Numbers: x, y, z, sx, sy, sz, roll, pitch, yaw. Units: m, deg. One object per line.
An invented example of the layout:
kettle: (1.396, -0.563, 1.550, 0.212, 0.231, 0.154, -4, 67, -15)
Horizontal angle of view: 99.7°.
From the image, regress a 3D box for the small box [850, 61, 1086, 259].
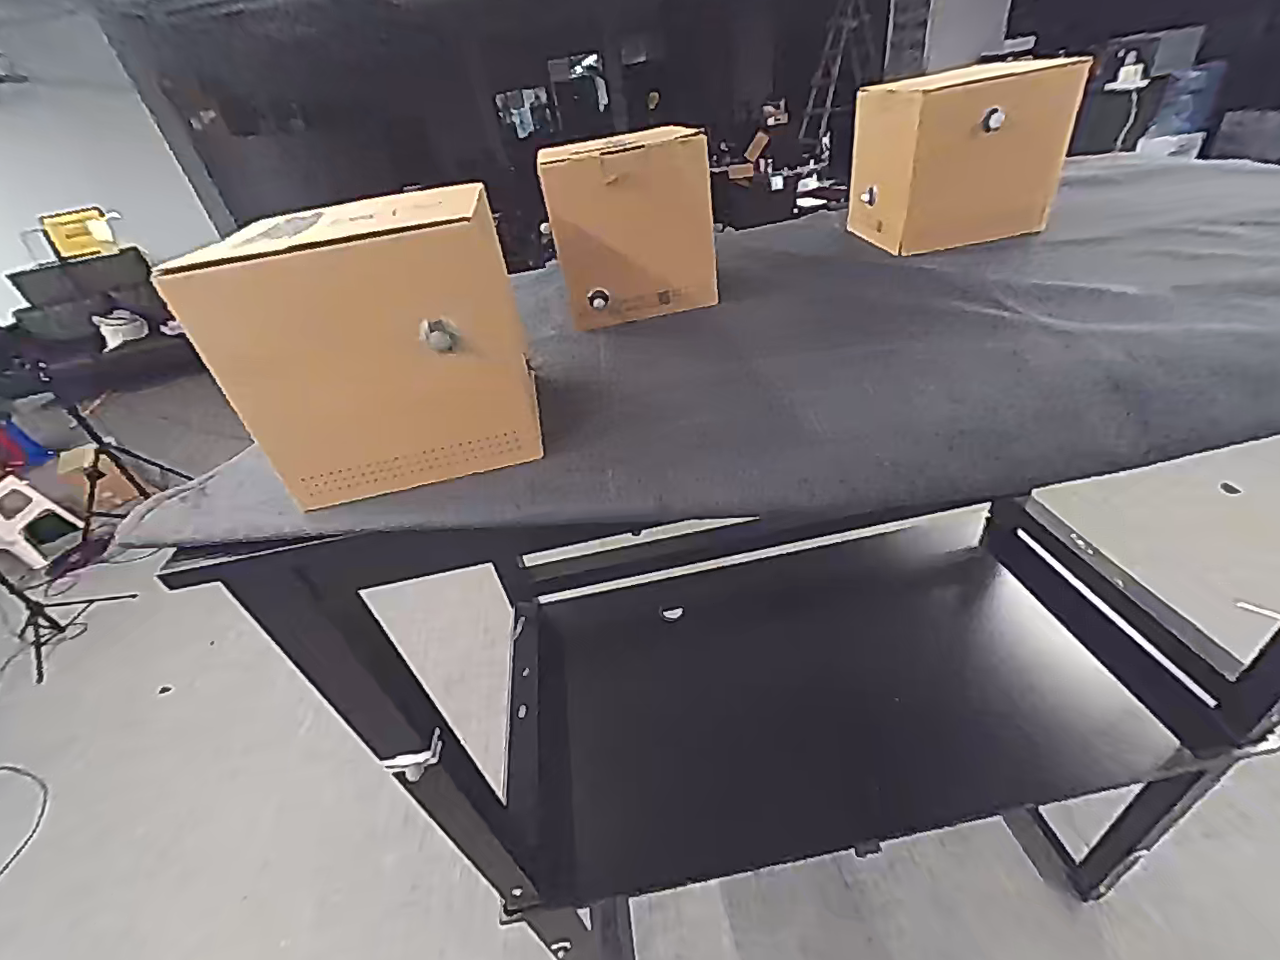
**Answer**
small box: (0.374, -0.388, 0.658, 0.179, 0.176, 0.168, -11, 35, 2)

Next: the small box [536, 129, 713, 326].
small box: (-0.017, -0.290, 0.627, 0.168, 0.176, 0.179, -12, 35, -1)
